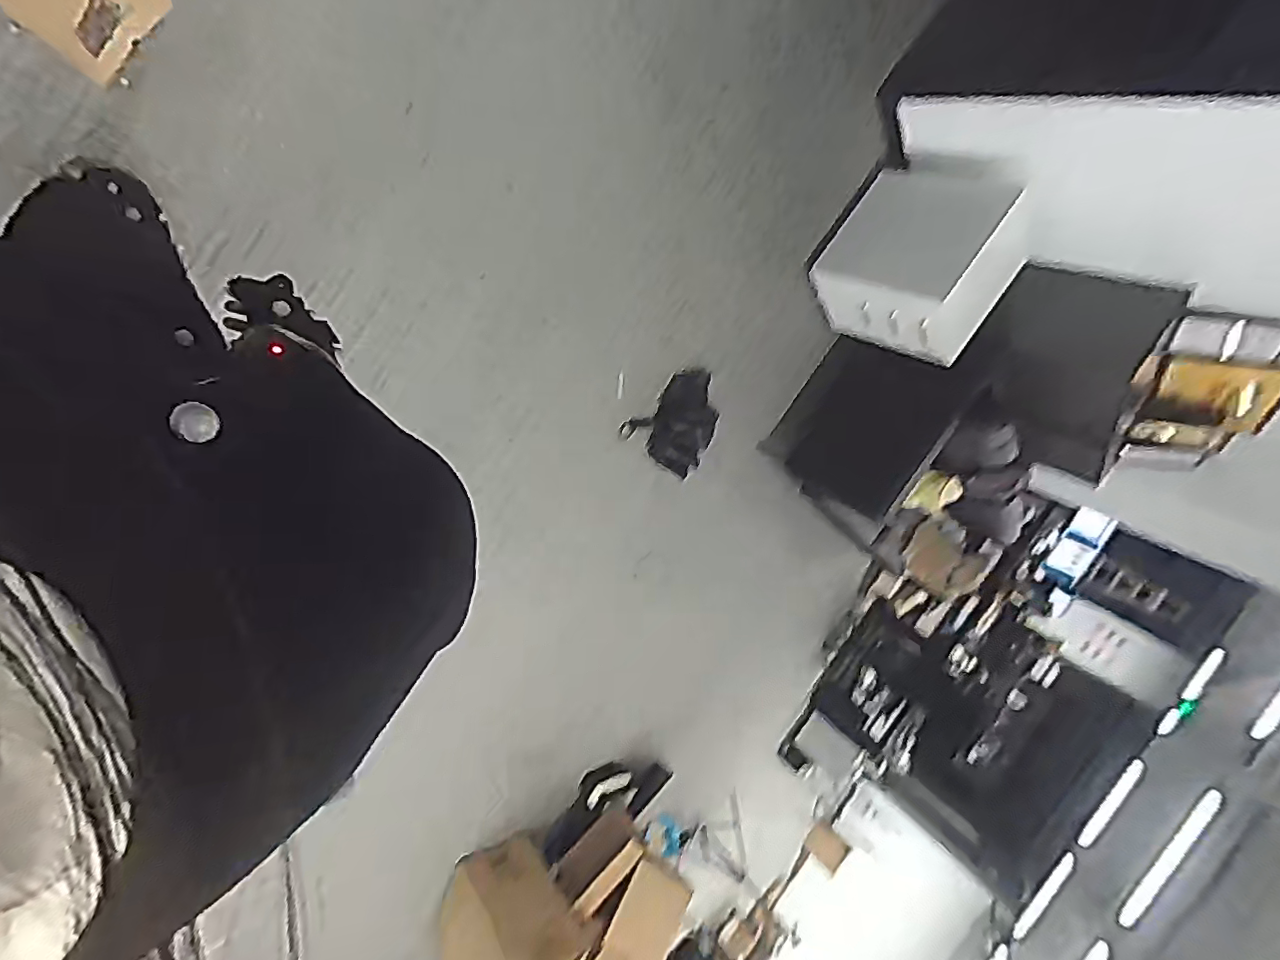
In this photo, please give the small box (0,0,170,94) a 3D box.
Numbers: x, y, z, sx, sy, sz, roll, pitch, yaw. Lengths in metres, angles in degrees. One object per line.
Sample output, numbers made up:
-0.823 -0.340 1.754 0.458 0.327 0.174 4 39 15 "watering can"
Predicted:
-0.824 -0.694 0.771 0.168 0.176 0.179 -53 139 -3 "small box"
